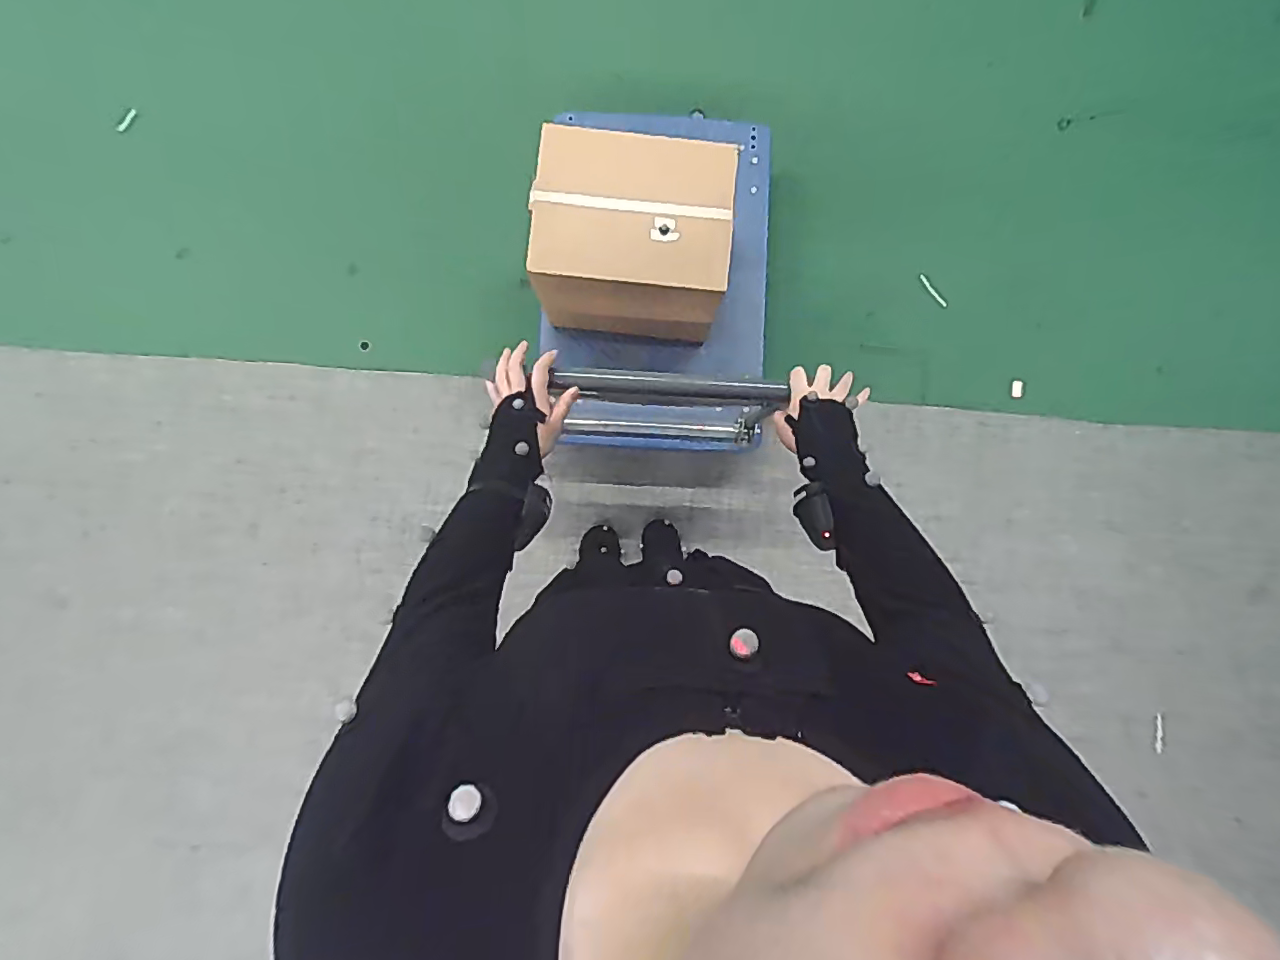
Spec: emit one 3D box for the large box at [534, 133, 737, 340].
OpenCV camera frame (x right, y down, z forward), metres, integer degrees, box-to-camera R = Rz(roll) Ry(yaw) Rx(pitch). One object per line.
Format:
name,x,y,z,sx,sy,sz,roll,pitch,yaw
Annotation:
large box,-0.014,-0.538,1.255,0.408,0.320,0.320,5,85,-2
